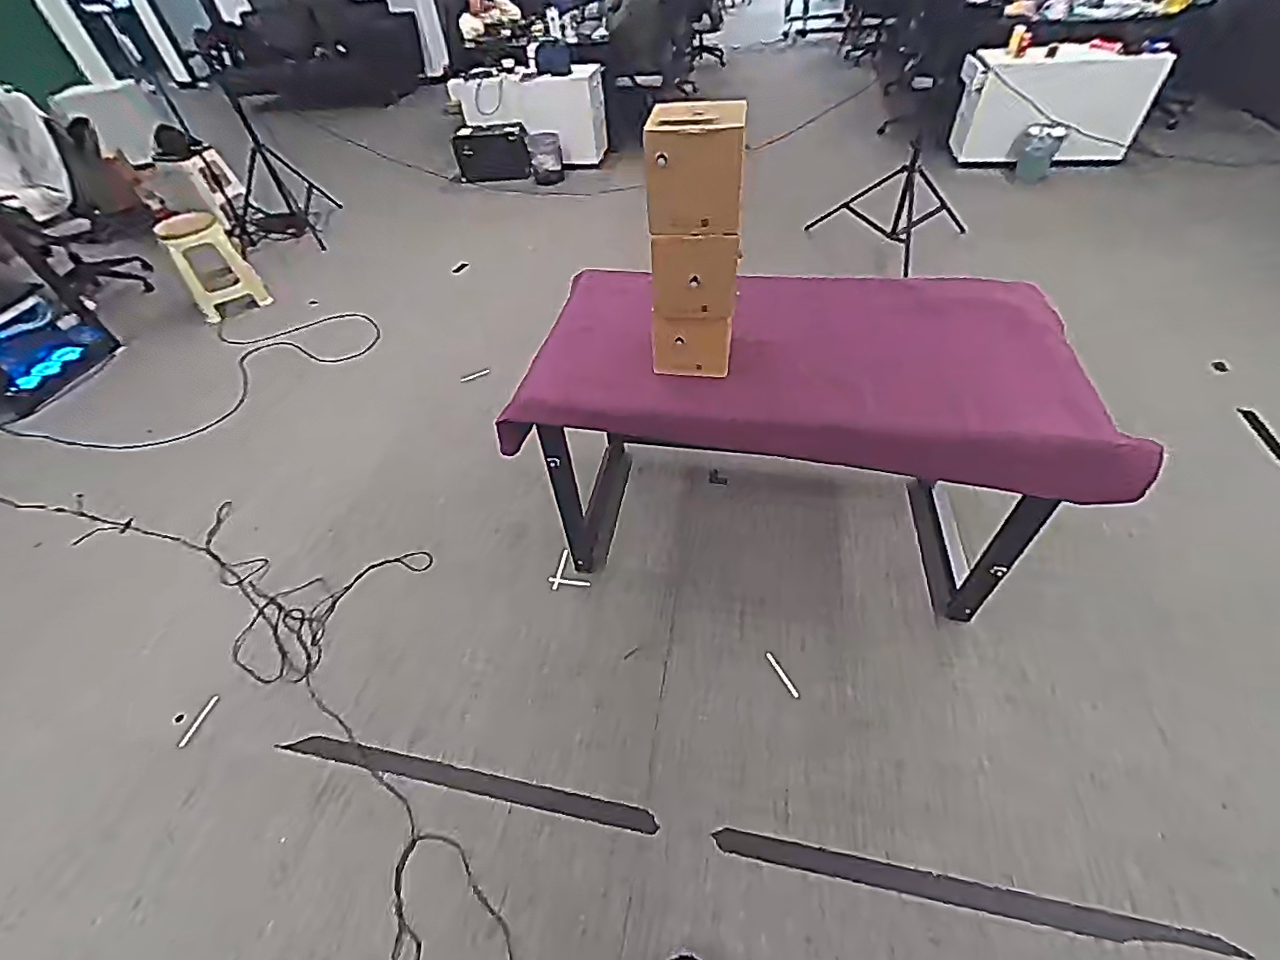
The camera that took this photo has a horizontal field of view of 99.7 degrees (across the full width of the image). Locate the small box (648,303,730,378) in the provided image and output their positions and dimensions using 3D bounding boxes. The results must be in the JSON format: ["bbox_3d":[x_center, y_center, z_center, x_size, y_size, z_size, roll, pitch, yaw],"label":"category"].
[{"bbox_3d":[0.118,-0.351,1.236,0.168,0.176,0.179,5,48,9],"label":"small box"}]

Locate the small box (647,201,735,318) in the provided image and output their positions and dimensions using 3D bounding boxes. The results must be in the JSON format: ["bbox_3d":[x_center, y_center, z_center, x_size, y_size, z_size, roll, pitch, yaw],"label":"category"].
[{"bbox_3d":[0.108,-0.445,1.100,0.168,0.176,0.179,2,48,6],"label":"small box"}]
